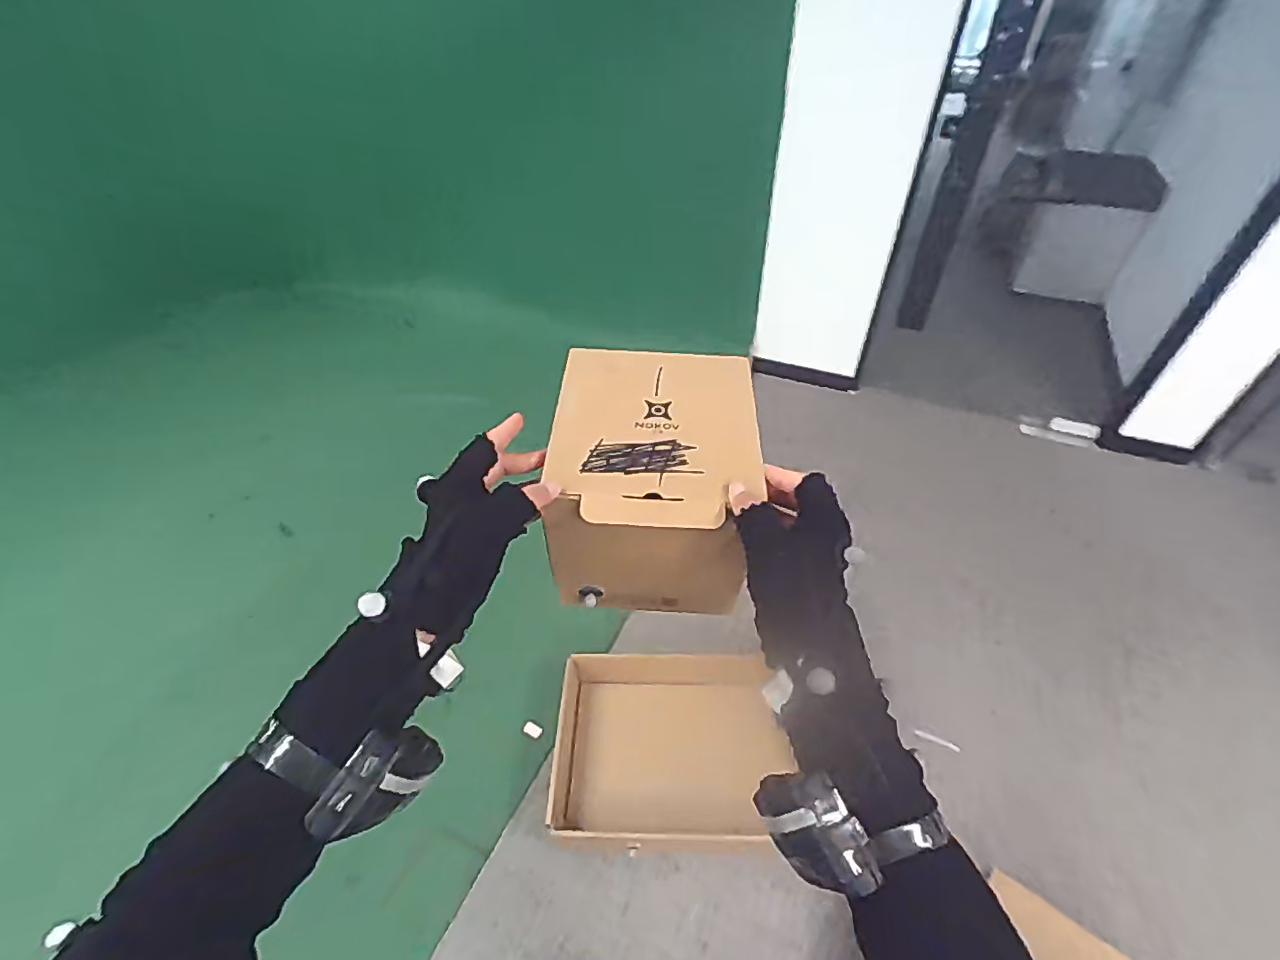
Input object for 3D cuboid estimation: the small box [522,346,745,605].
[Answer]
[{"bbox_3d":[-0.002,-0.001,0.501,0.168,0.176,0.179,4,48,0],"label":"small box"}]
